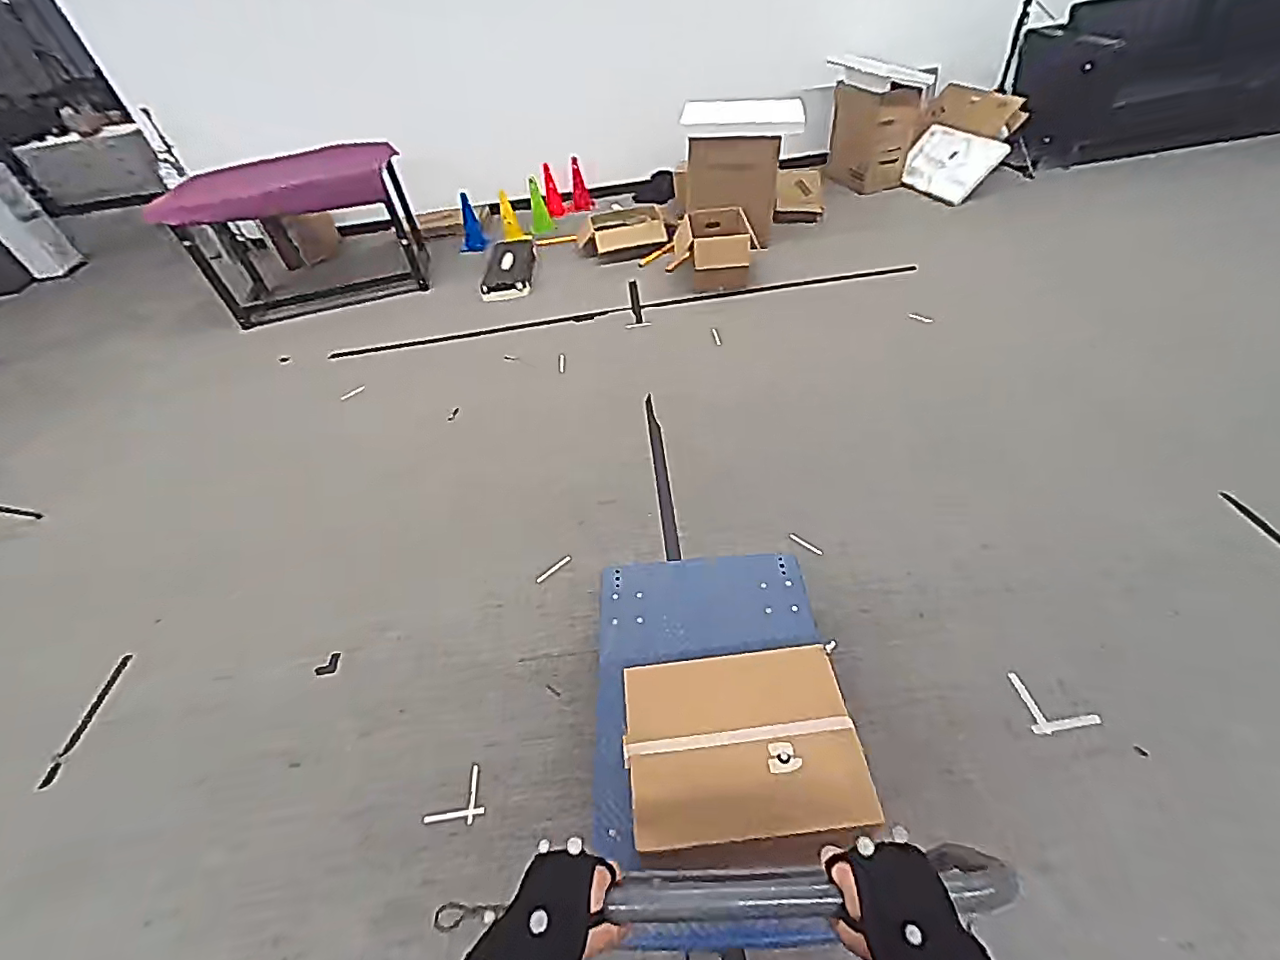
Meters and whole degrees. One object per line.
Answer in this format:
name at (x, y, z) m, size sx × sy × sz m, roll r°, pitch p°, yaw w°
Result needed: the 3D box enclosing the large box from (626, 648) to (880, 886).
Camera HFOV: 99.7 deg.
large box at (0.194, 0.576, 1.085) m, size 0.408 × 0.320 × 0.320 m, roll -7°, pitch 46°, yaw 0°
